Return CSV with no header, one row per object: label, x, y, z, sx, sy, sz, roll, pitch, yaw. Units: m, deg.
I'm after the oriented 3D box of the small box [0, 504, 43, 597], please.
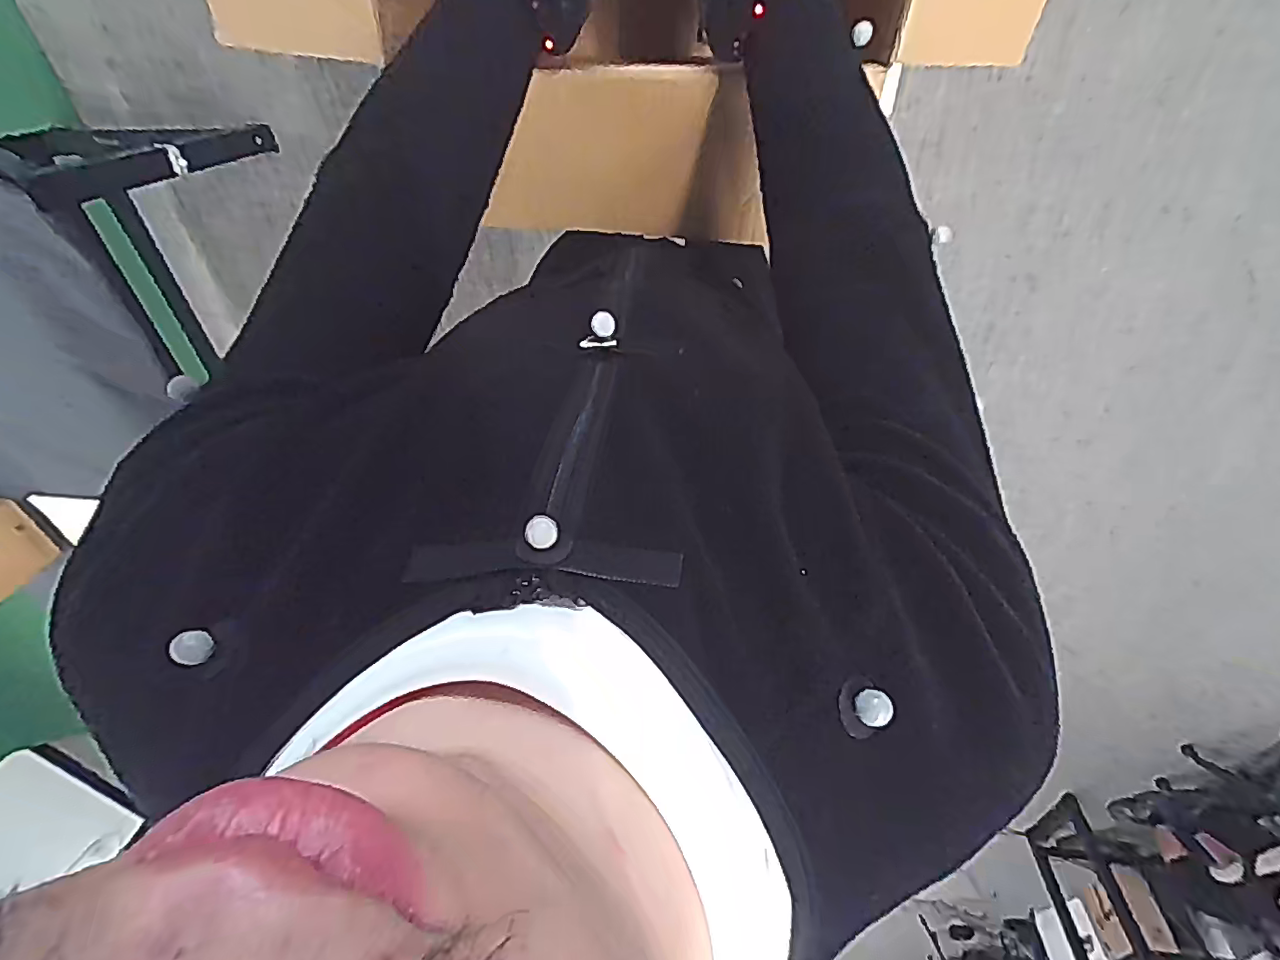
small box,-1.389,0.147,1.092,0.179,0.176,0.168,4,129,4
